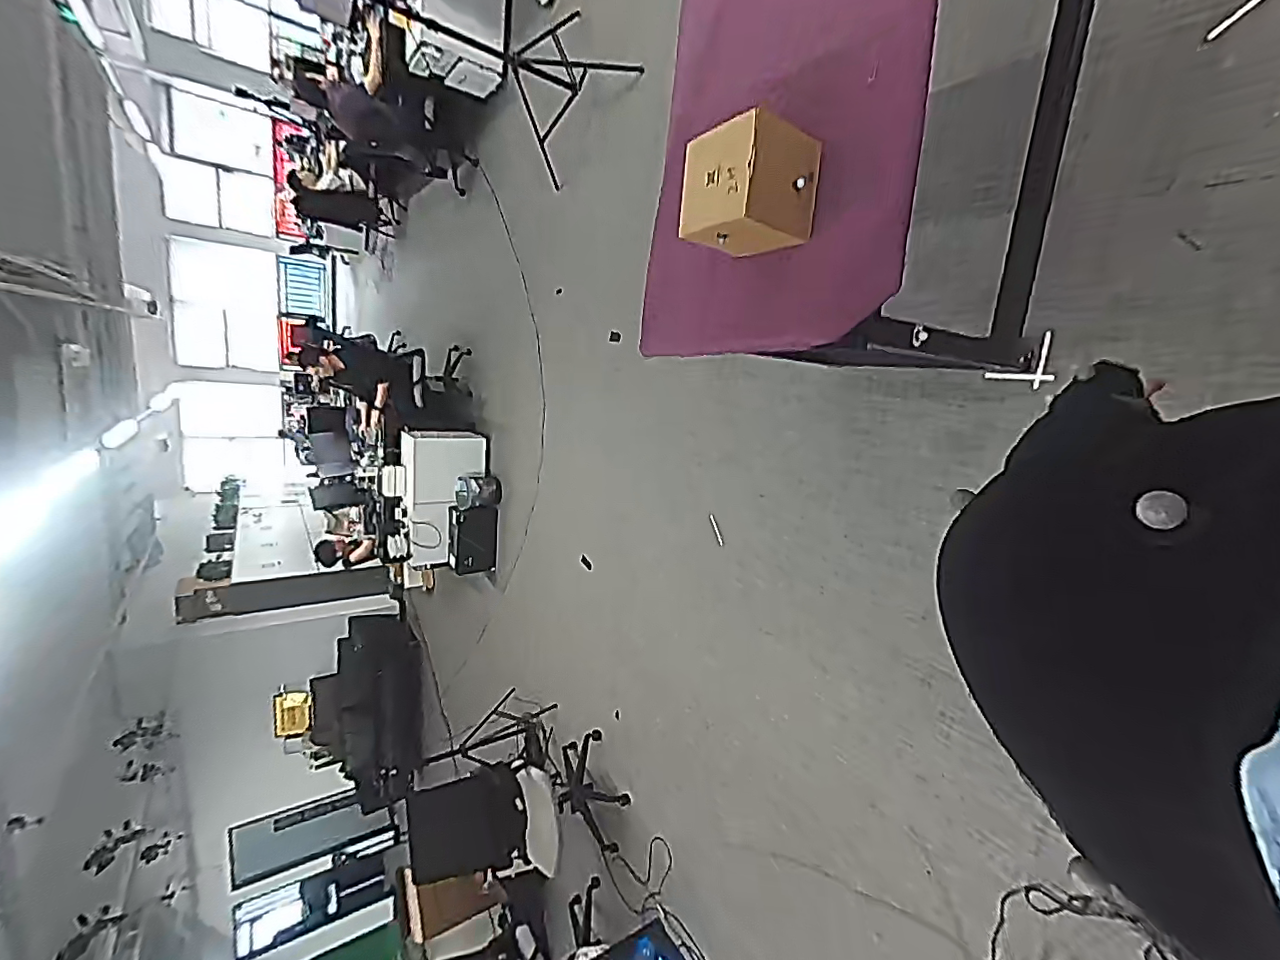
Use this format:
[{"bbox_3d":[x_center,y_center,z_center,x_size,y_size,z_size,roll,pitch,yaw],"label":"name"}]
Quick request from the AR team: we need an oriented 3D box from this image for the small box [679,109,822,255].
[{"bbox_3d":[0.194,-0.515,0.967,0.179,0.176,0.168,17,105,53],"label":"small box"}]
